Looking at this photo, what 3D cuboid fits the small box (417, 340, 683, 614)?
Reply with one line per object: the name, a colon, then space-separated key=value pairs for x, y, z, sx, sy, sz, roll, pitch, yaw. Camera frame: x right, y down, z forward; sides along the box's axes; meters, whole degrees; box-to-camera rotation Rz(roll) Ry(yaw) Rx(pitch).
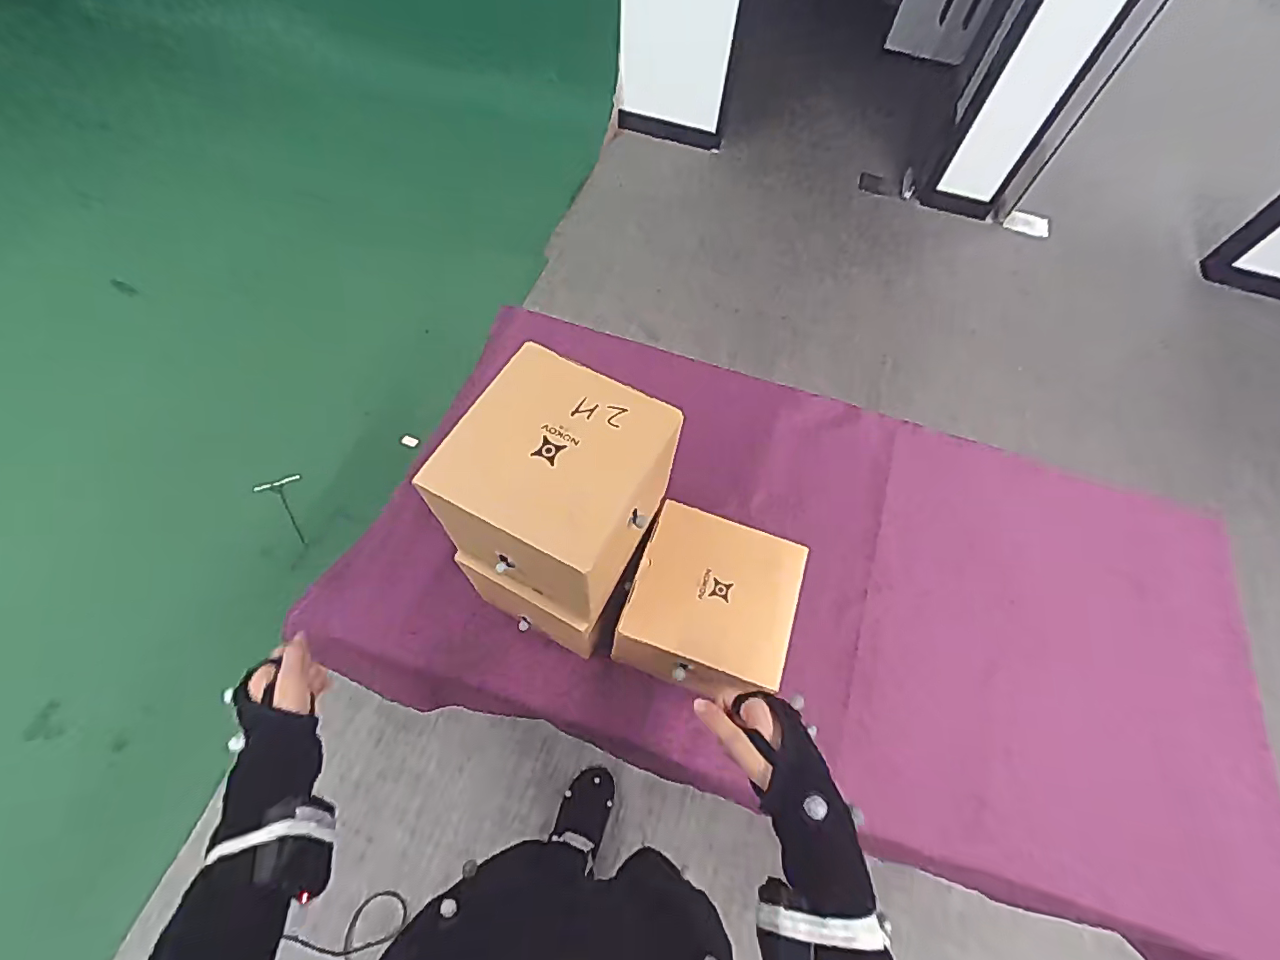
small box: x=-0.075 y=0.006 z=0.528 sx=0.168 sy=0.176 sz=0.179 roll=27 pitch=63 yaw=9
